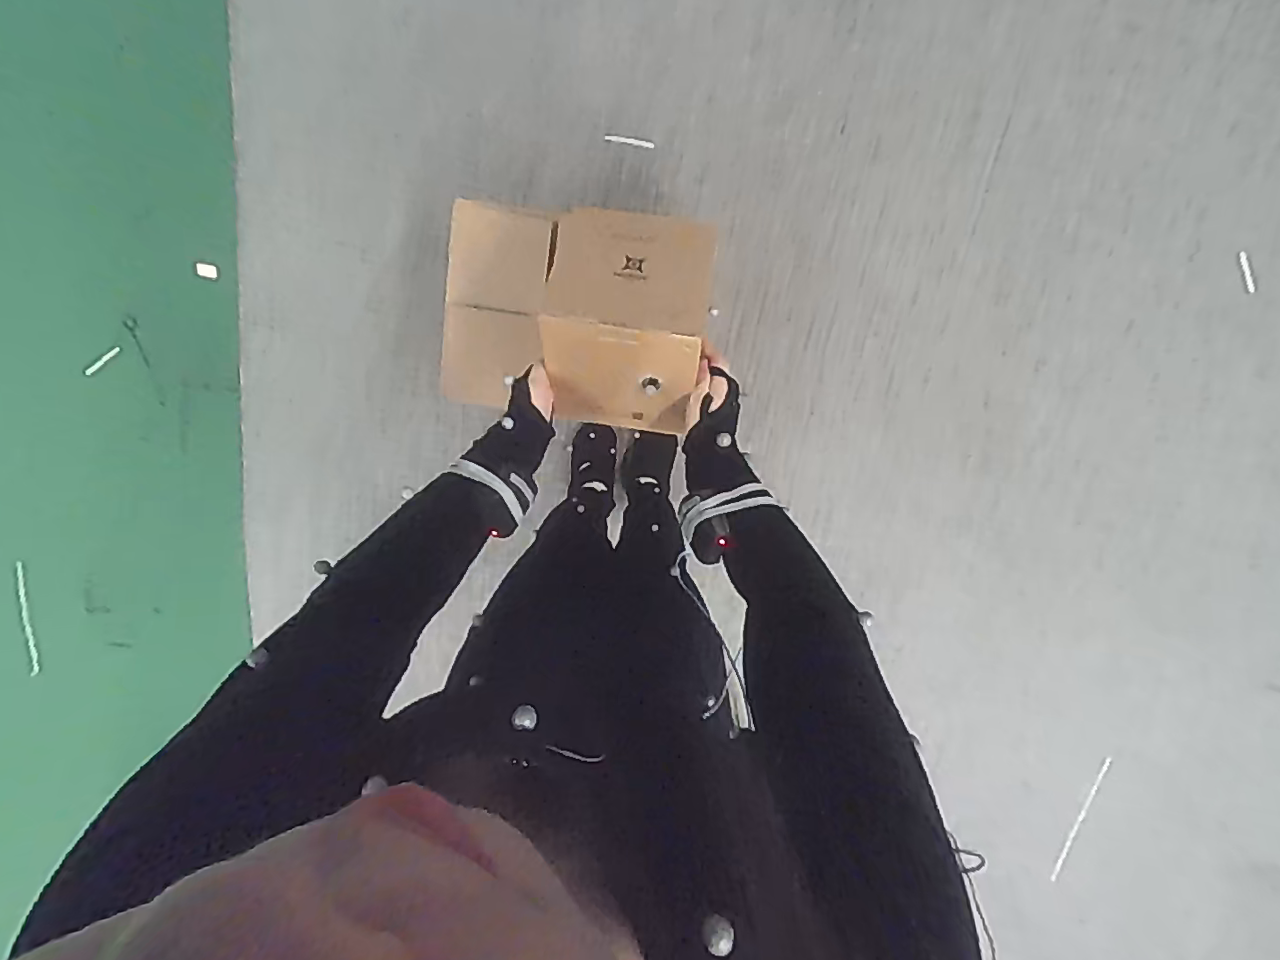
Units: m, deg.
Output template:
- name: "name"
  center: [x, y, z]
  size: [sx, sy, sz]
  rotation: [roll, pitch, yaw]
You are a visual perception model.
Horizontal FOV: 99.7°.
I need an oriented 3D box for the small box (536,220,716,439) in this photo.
- name: "small box"
  center: [-0.010, -0.169, 0.634]
  size: [0.168, 0.179, 0.176]
  rotation: [9, 149, 4]
